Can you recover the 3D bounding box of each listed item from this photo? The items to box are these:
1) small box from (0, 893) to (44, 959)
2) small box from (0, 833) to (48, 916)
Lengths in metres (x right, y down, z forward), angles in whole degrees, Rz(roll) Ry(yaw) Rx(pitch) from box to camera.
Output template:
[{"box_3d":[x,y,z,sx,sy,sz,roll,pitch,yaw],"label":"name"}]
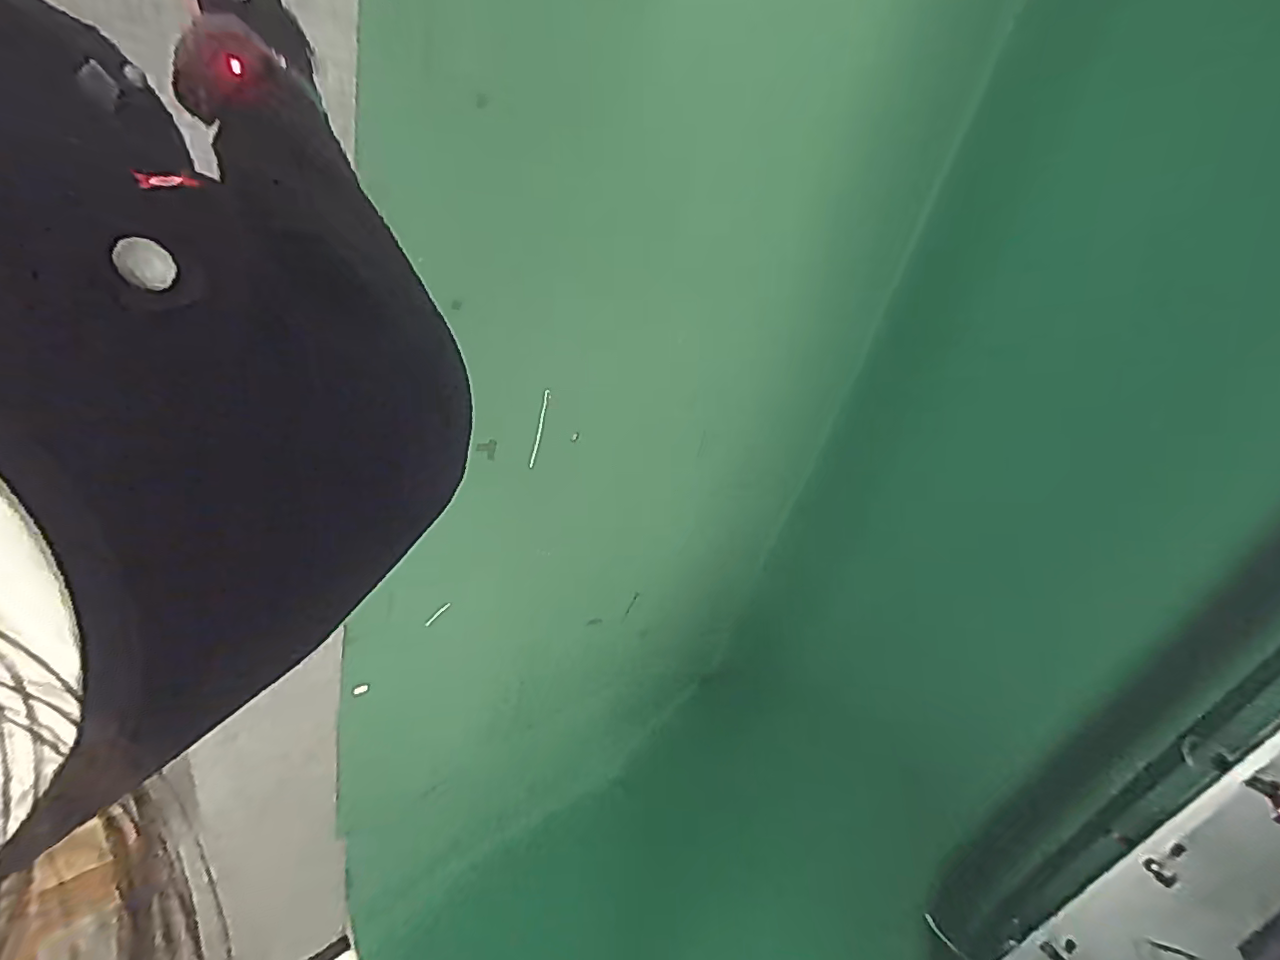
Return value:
[{"box_3d":[-1.488,1.096,1.216,0.179,0.176,0.168,-18,133,-41],"label":"small box"},{"box_3d":[-1.612,1.020,1.326,0.179,0.176,0.168,-17,133,-43],"label":"small box"}]
